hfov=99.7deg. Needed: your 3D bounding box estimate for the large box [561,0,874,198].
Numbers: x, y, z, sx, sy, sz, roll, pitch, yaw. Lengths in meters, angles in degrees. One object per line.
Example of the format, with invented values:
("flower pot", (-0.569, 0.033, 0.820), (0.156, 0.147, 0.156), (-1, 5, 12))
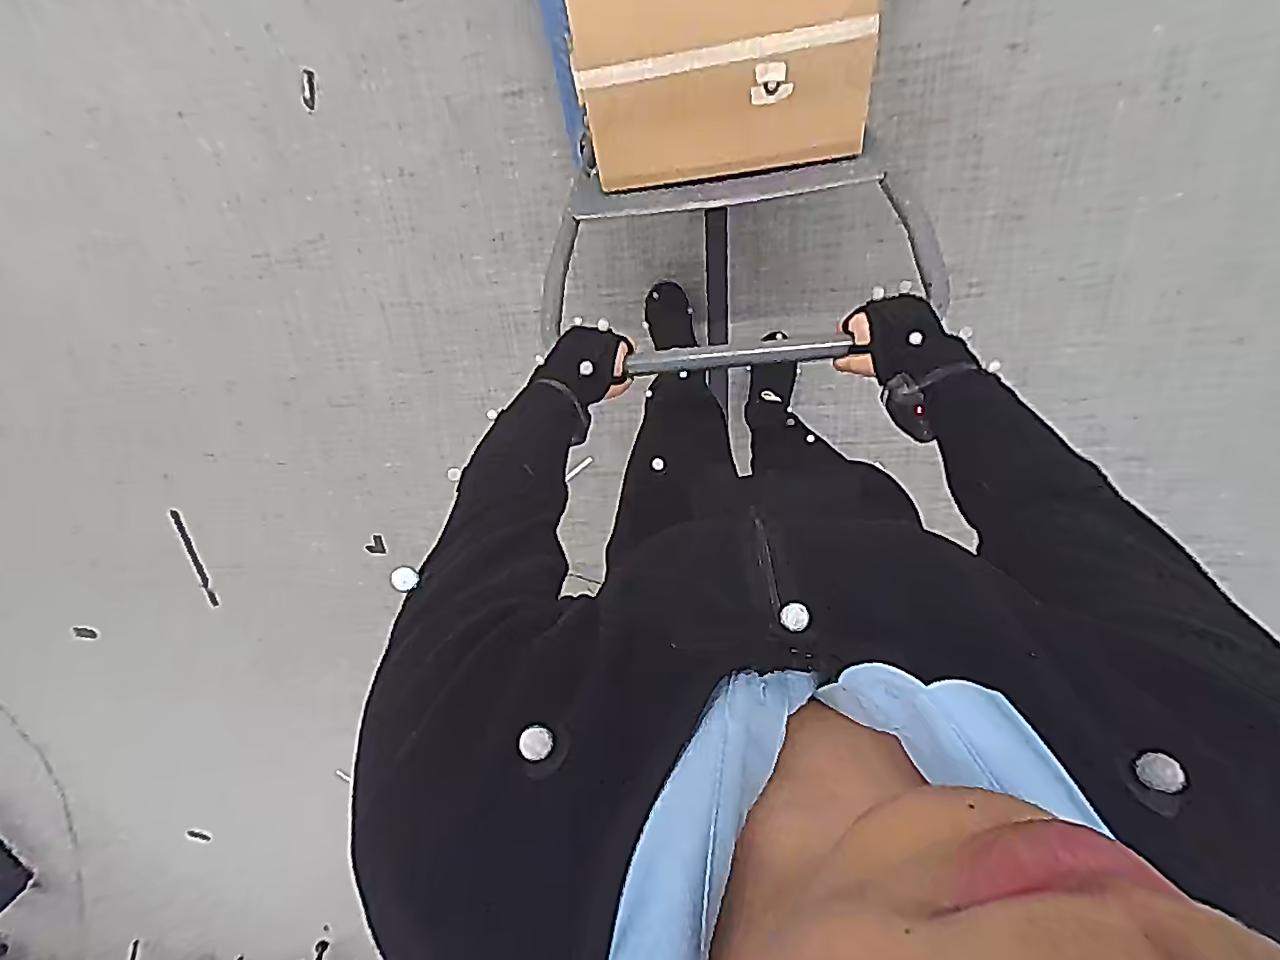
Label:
("large box", (0.115, -0.685, 0.841), (0.408, 0.320, 0.320), (-5, 136, 9))
